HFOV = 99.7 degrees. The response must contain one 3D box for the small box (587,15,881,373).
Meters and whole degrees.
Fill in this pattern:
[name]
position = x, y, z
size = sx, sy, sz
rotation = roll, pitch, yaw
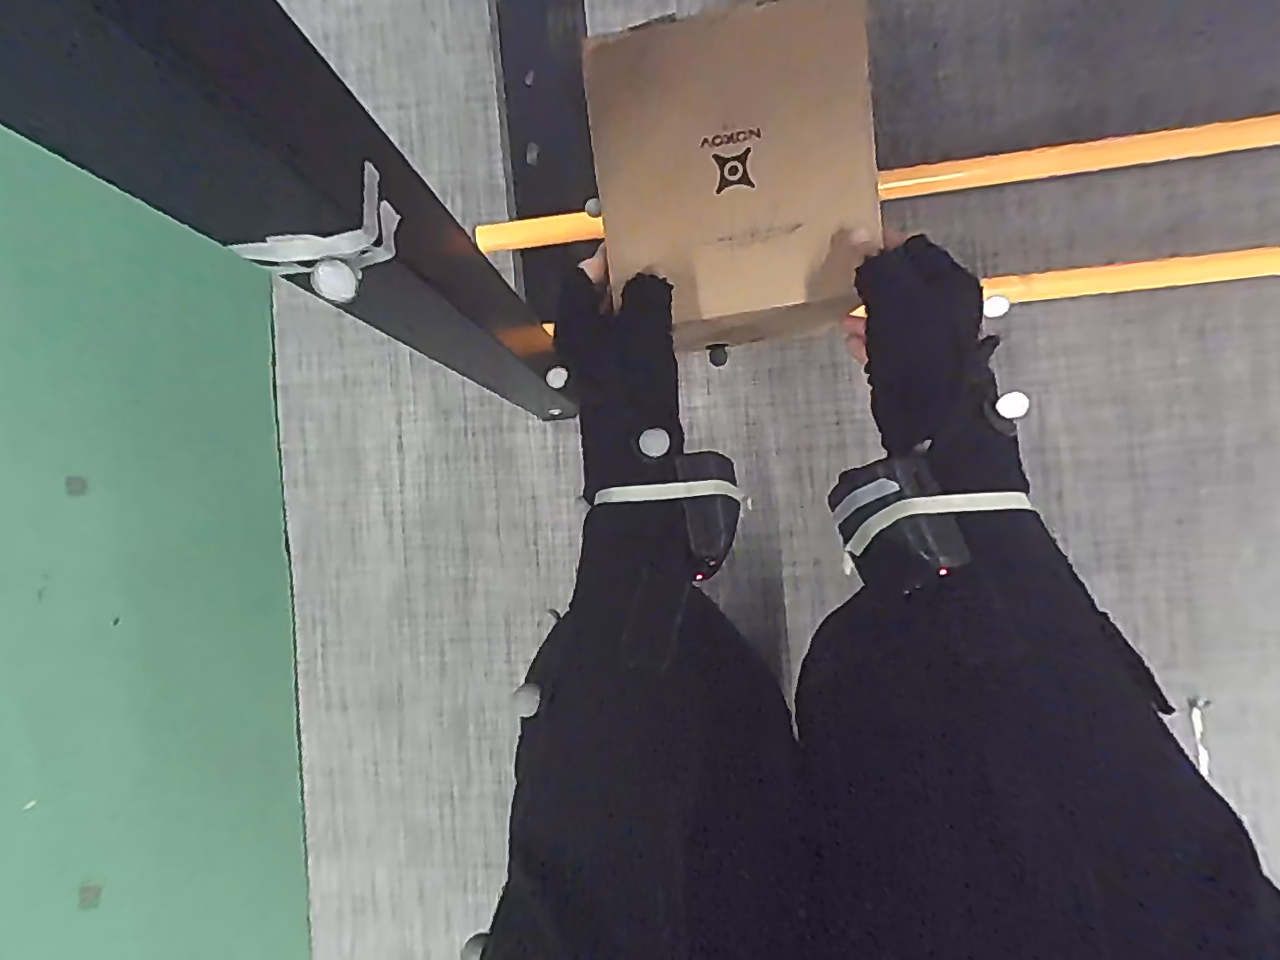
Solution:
[small box]
position = 0.064, -0.186, 0.410
size = 0.168, 0.176, 0.179
rotation = -8, 96, 7
